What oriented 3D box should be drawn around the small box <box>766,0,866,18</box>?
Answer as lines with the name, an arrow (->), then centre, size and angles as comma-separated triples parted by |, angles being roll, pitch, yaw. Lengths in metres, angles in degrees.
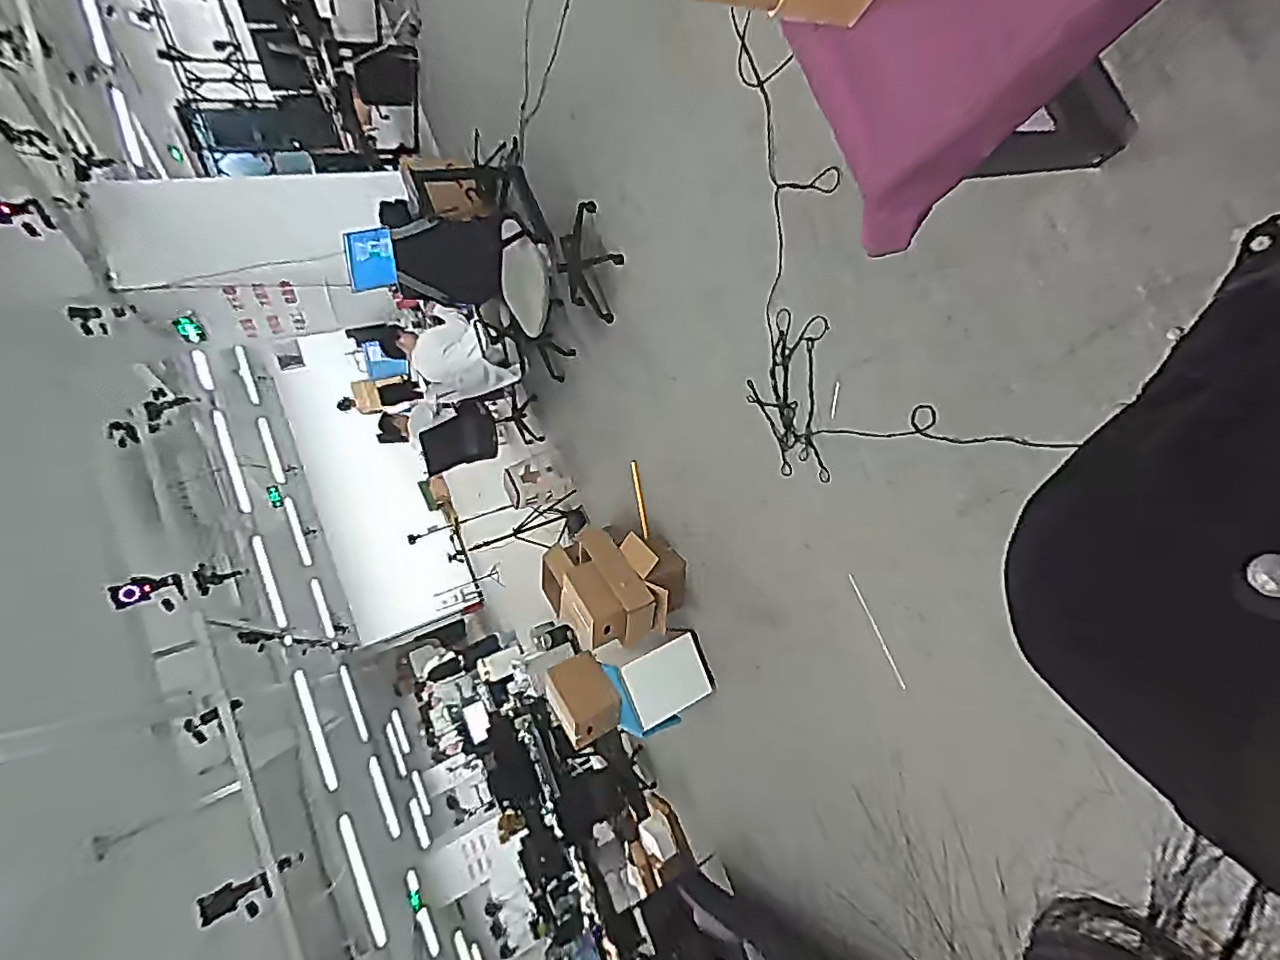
small box -> 0.246, -0.738, 0.686 | 0.168, 0.176, 0.179 | -31, 79, 64
